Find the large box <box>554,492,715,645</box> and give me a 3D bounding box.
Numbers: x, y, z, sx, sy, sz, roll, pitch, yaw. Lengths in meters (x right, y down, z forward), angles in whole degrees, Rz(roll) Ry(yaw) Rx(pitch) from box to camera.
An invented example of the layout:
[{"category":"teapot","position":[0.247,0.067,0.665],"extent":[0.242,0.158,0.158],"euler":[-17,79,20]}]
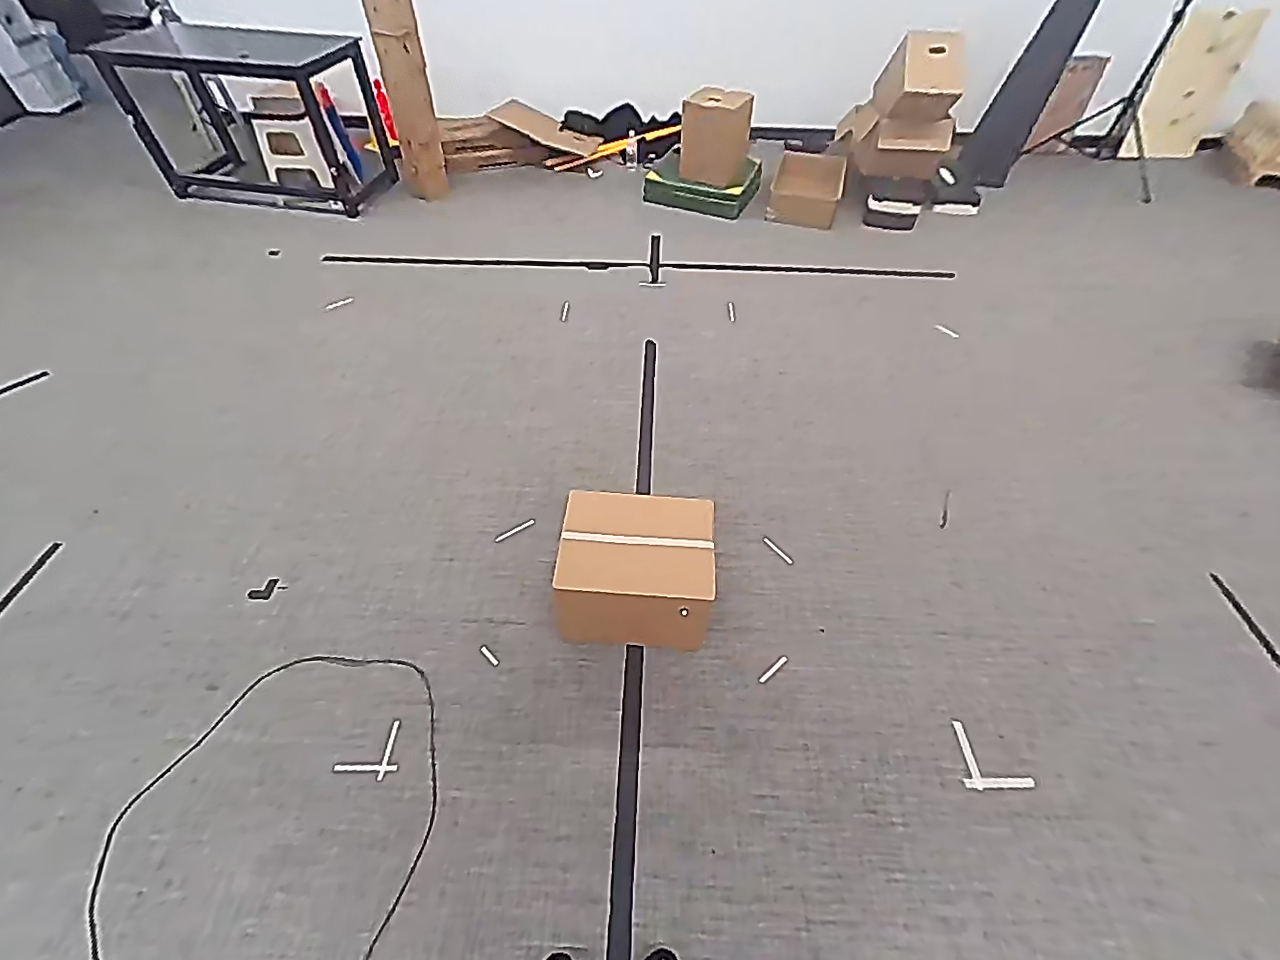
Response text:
[{"category":"large box","position":[-0.010,0.255,1.529],"extent":[0.408,0.320,0.320],"euler":[4,50,1]}]
